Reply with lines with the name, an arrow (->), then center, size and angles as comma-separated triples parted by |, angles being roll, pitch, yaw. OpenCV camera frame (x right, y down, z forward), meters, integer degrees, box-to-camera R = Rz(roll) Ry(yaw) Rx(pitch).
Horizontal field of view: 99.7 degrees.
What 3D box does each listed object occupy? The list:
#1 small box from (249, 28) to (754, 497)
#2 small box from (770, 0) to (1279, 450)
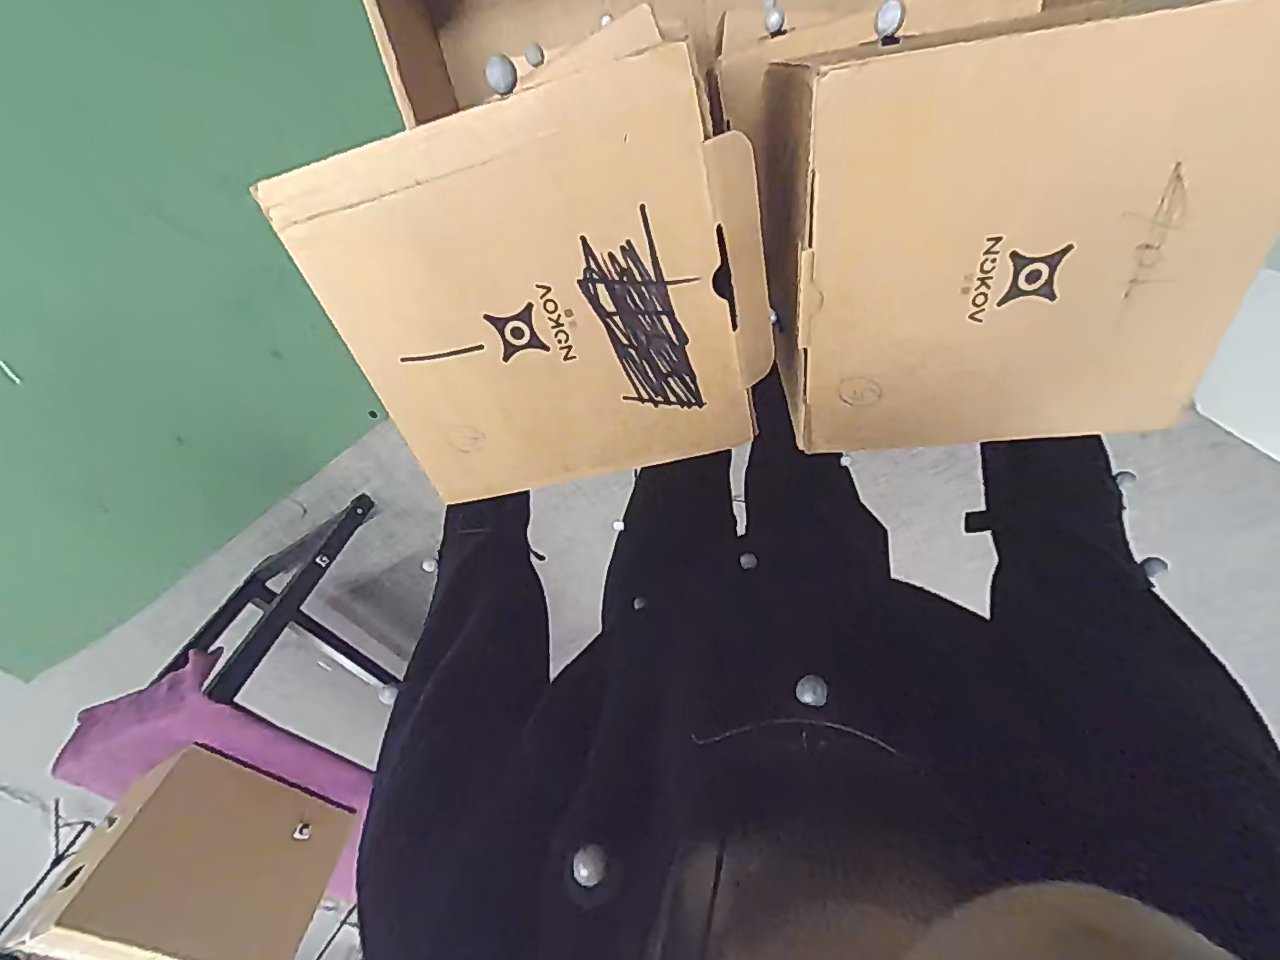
small box -> -0.045, -0.118, 0.299 | 0.179, 0.176, 0.168 | -11, 124, 11
small box -> 0.162, -0.134, 0.280 | 0.179, 0.176, 0.168 | -5, 126, 9
